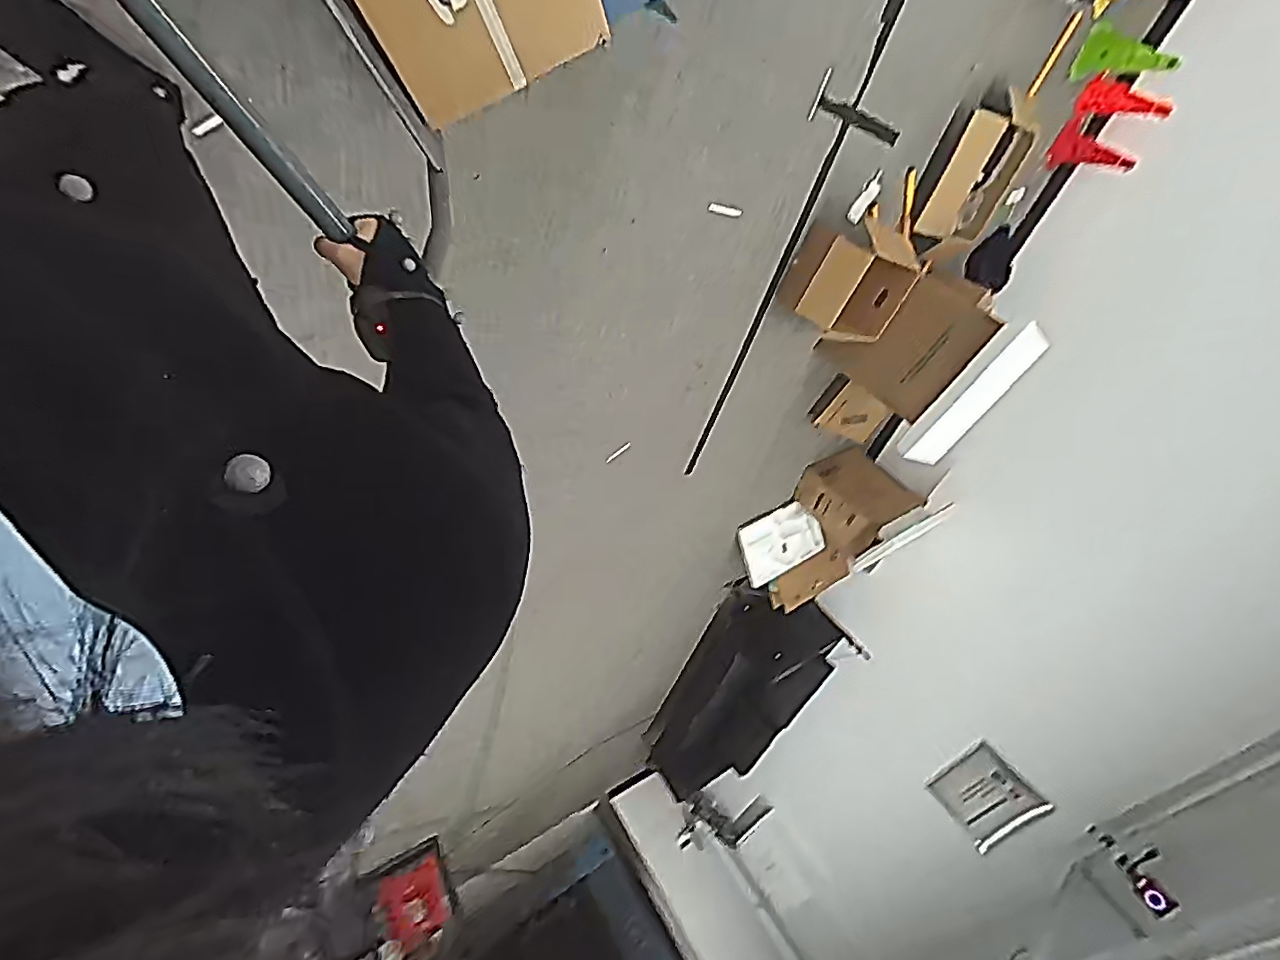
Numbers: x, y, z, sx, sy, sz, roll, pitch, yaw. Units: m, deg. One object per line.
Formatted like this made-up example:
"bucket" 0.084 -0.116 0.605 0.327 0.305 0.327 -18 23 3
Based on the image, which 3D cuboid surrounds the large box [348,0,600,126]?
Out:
"large box" -0.302 -0.827 0.757 0.320 0.320 0.408 -24 147 4
